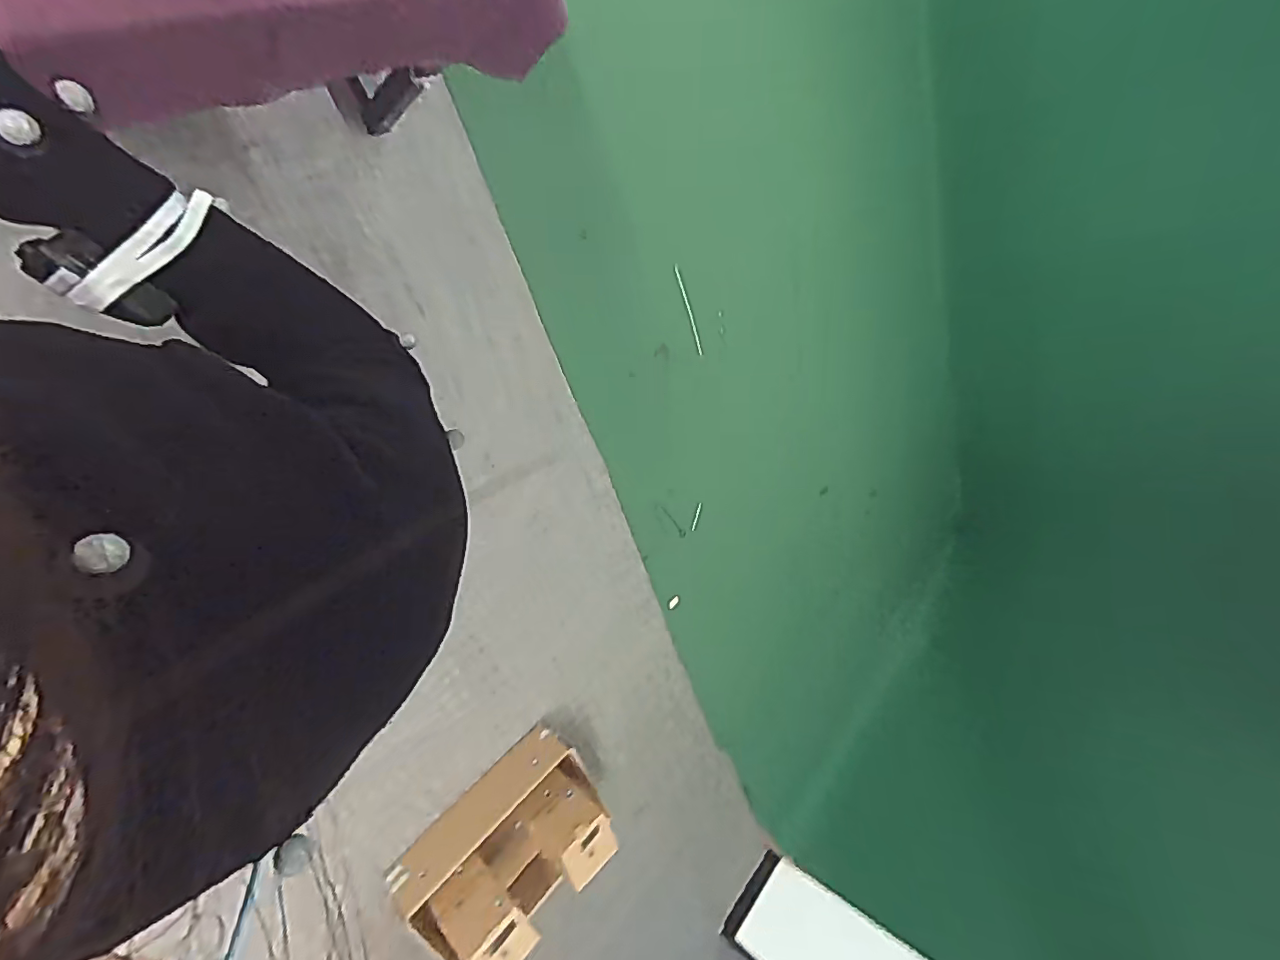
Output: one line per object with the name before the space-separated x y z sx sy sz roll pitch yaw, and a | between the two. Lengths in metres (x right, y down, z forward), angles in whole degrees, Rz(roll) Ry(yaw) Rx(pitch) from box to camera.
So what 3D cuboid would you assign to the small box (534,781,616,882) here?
small box | -0.204 1.076 1.675 0.168 0.176 0.179 -31 117 -34
